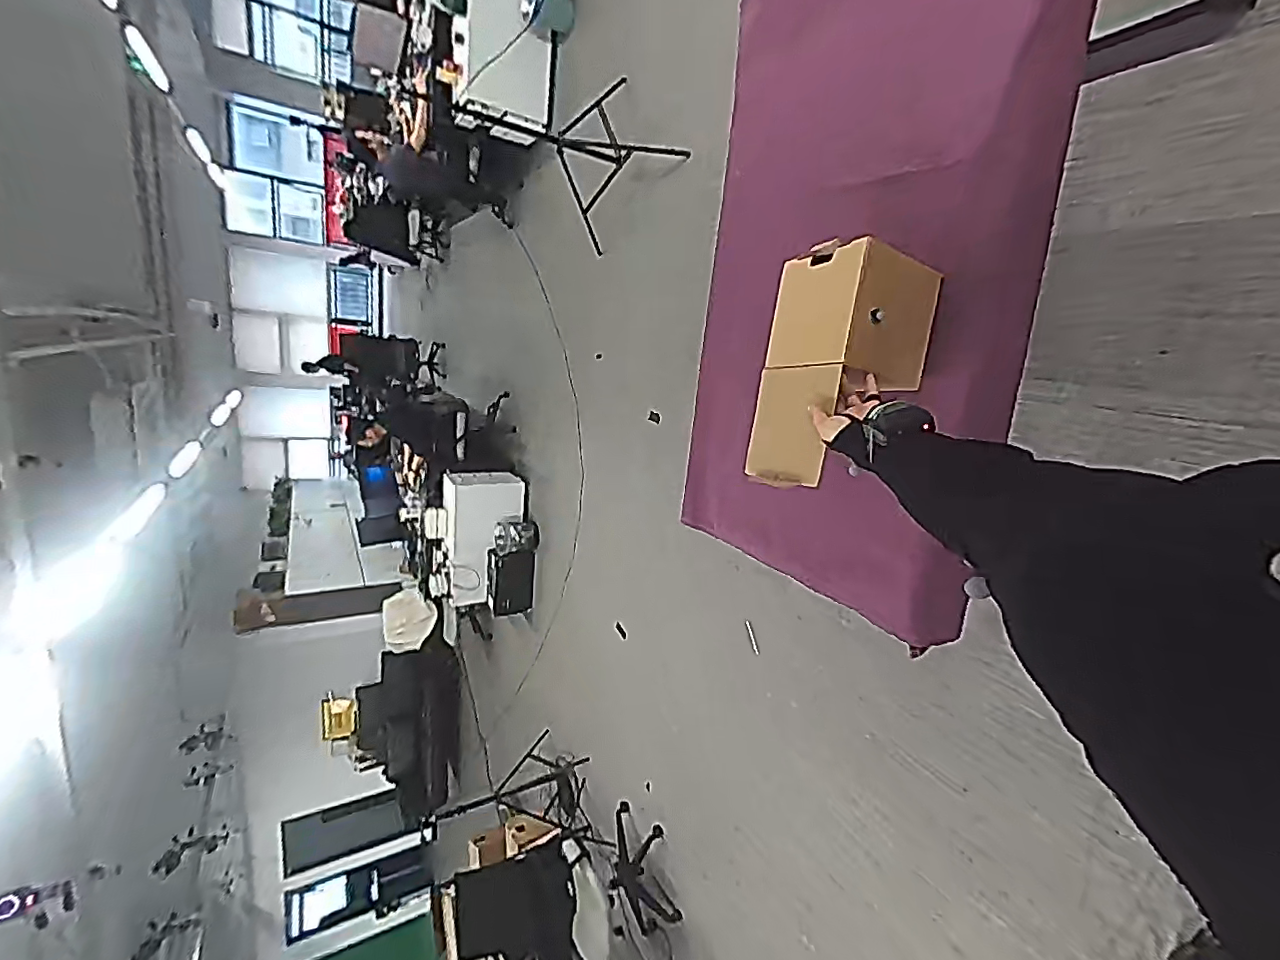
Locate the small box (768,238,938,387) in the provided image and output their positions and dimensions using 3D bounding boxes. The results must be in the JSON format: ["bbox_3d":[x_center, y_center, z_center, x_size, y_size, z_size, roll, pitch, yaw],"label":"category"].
[{"bbox_3d":[0.327,-0.242,0.837,0.168,0.176,0.179,16,97,62],"label":"small box"}]
